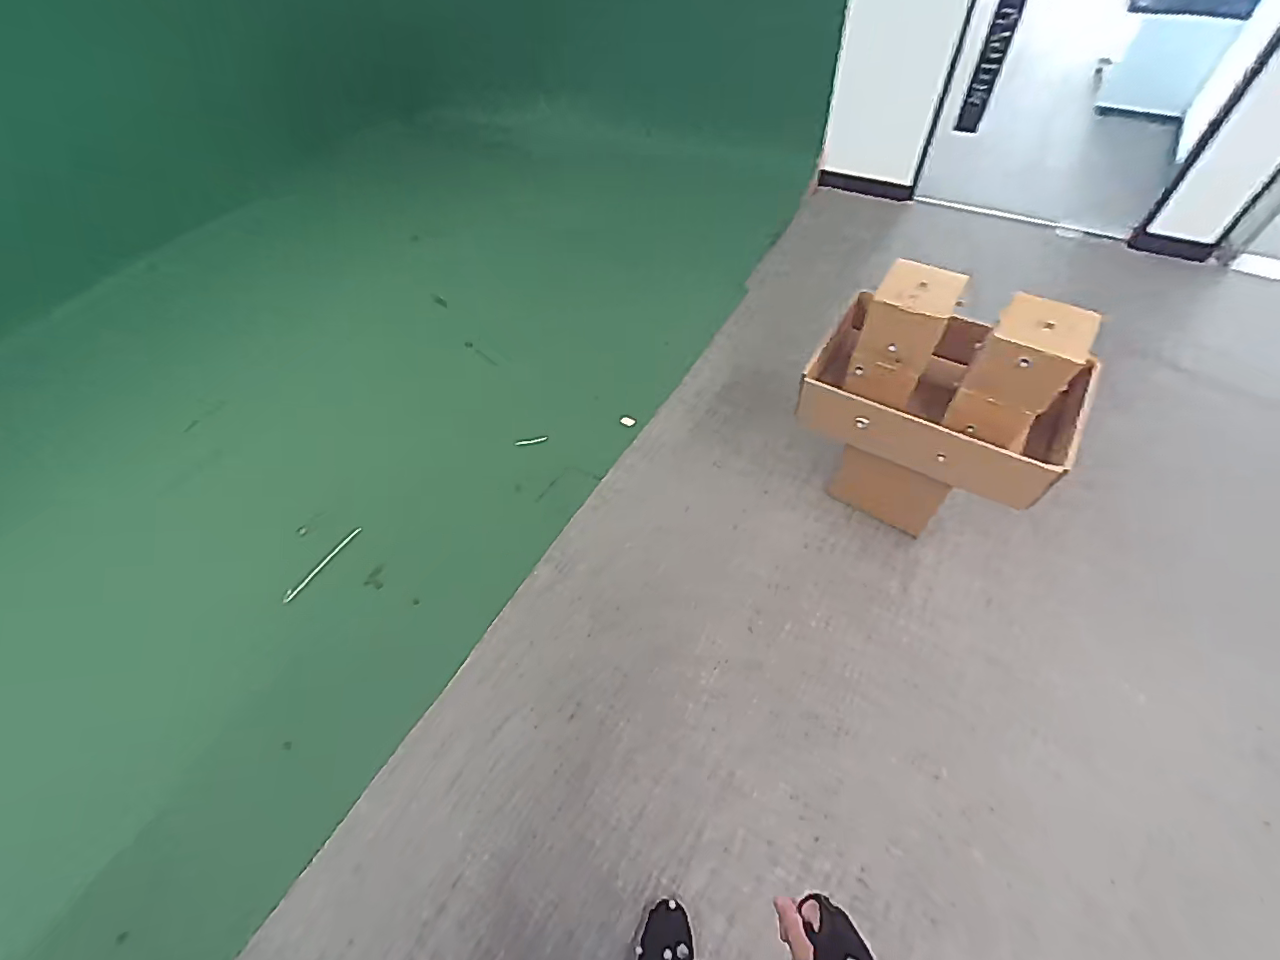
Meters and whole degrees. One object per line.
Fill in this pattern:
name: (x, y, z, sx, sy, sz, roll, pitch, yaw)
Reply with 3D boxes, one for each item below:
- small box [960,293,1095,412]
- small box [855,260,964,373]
small box: (0.861, -0.281, 1.217, 0.179, 0.176, 0.168, 29, 65, 21)
small box: (0.643, -0.393, 1.308, 0.168, 0.176, 0.179, 26, 62, 21)
